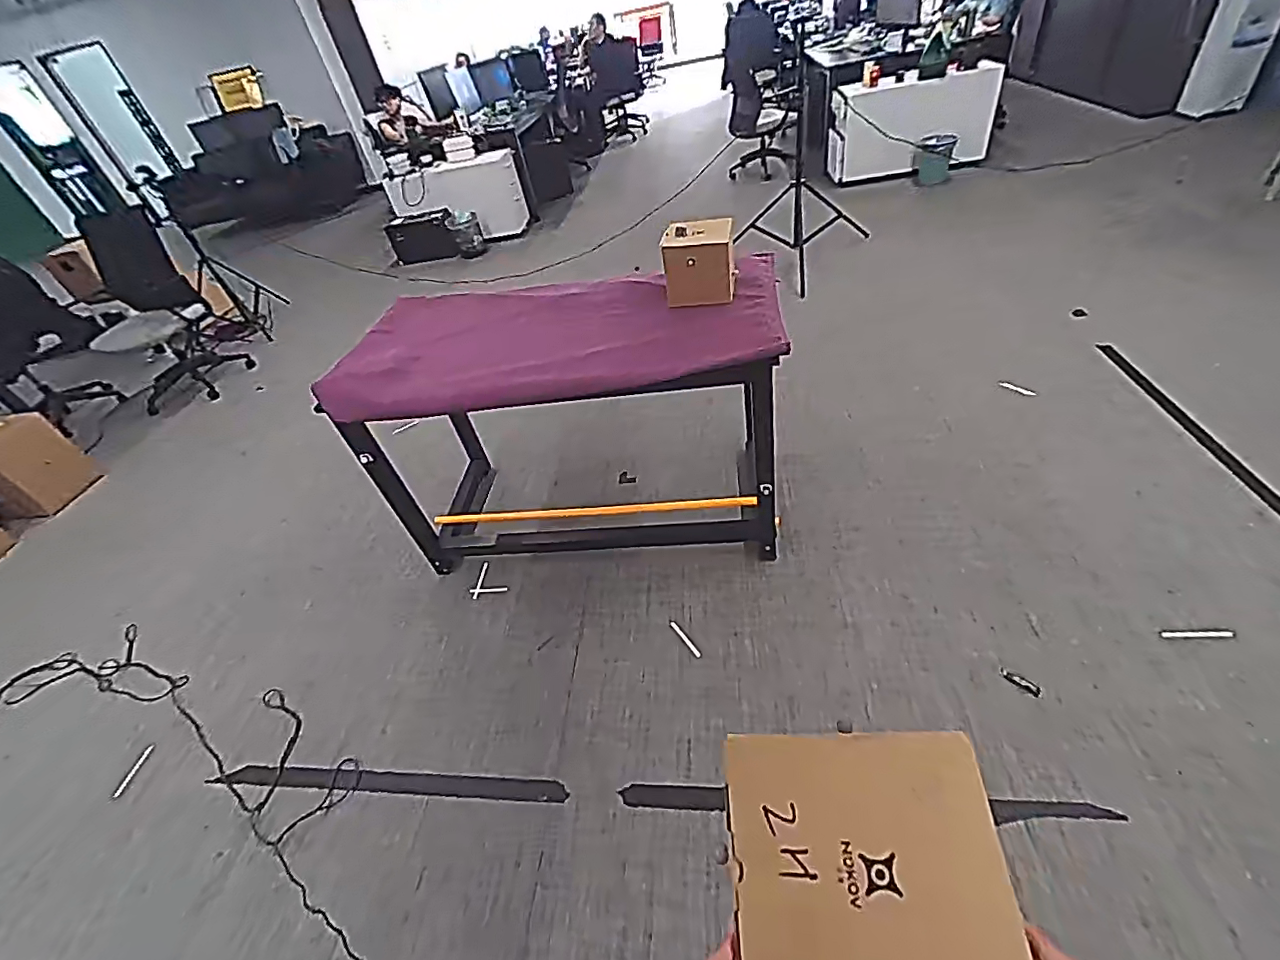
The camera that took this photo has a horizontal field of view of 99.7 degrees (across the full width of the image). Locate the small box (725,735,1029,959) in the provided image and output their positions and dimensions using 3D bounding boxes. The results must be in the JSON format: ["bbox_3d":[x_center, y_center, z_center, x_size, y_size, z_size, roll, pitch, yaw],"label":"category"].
[{"bbox_3d":[0.160,0.296,0.424,0.179,0.176,0.168,-4,59,7],"label":"small box"}]

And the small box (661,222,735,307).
[{"bbox_3d":[0.166,-0.591,1.496,0.179,0.176,0.168,1,45,14],"label":"small box"}]
